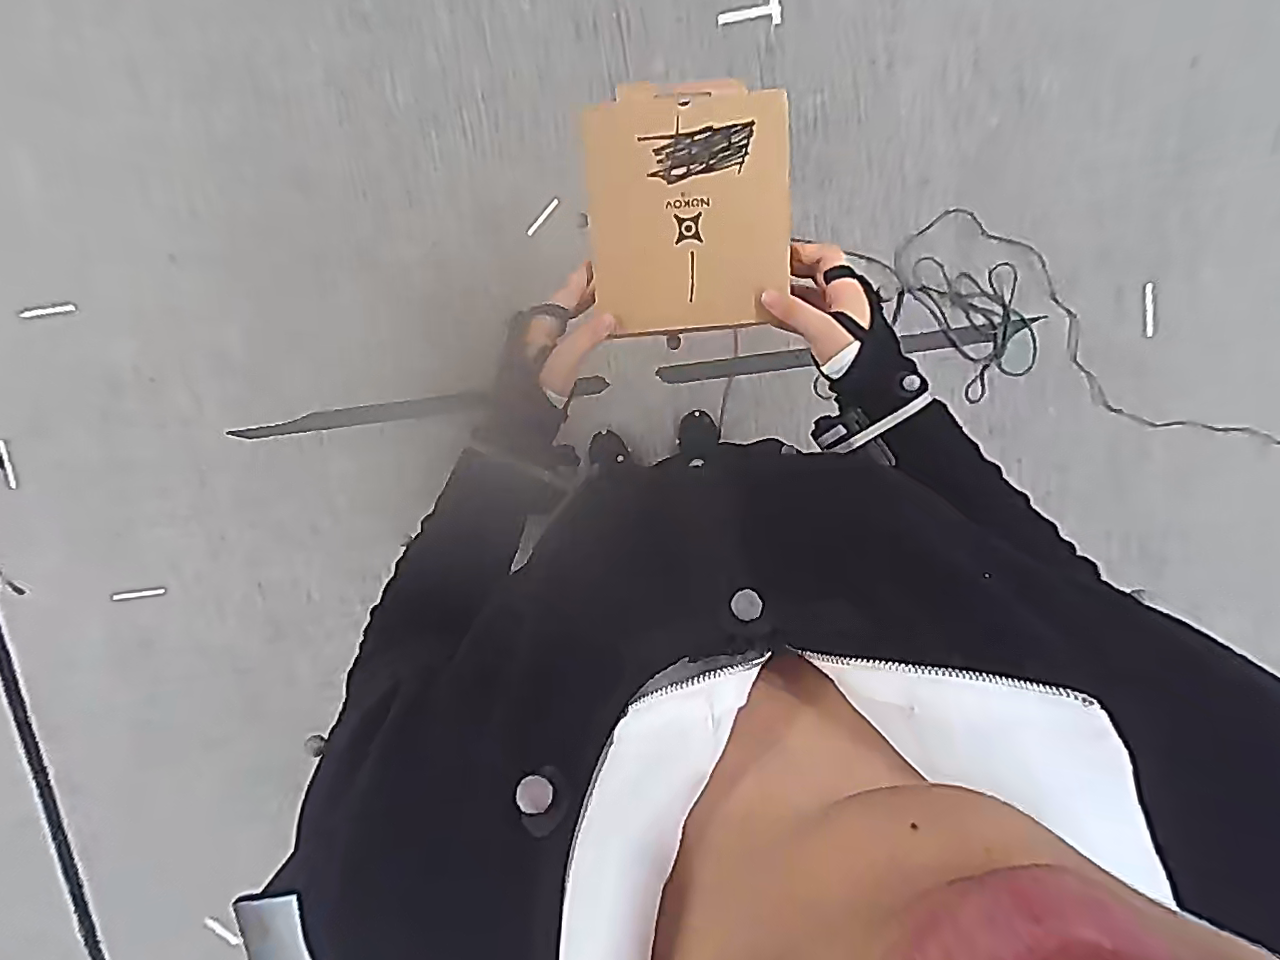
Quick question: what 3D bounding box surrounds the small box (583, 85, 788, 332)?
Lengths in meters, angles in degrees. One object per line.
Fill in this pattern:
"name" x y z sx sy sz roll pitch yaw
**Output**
"small box" 0.035 -0.239 0.519 0.168 0.176 0.179 -5 105 -2
